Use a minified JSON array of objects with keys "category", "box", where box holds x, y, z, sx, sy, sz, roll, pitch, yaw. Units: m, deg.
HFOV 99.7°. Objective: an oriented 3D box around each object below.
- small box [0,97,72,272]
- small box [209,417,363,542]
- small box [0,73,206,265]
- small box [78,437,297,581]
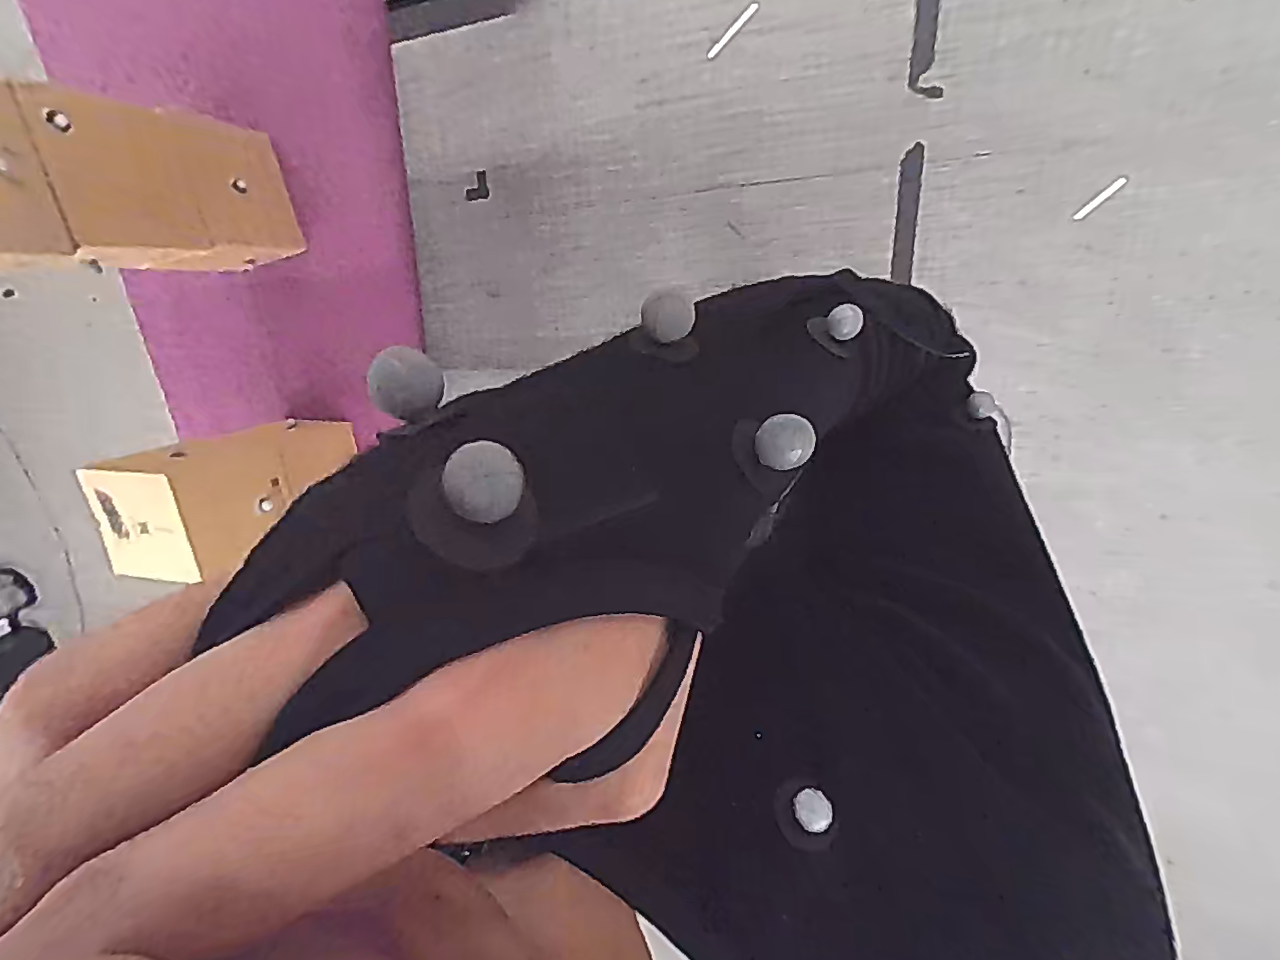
[{"category":"small box","box":[-0.750,-0.311,0.542,0.168,0.176,0.179,-1,109,17]},{"category":"small box","box":[-0.635,-0.008,0.981,0.168,0.176,0.179,4,110,15]},{"category":"small box","box":[-0.711,-0.374,0.689,0.168,0.176,0.179,-1,109,16]},{"category":"small box","box":[-0.675,0.034,0.826,0.179,0.176,0.168,3,110,15]}]
